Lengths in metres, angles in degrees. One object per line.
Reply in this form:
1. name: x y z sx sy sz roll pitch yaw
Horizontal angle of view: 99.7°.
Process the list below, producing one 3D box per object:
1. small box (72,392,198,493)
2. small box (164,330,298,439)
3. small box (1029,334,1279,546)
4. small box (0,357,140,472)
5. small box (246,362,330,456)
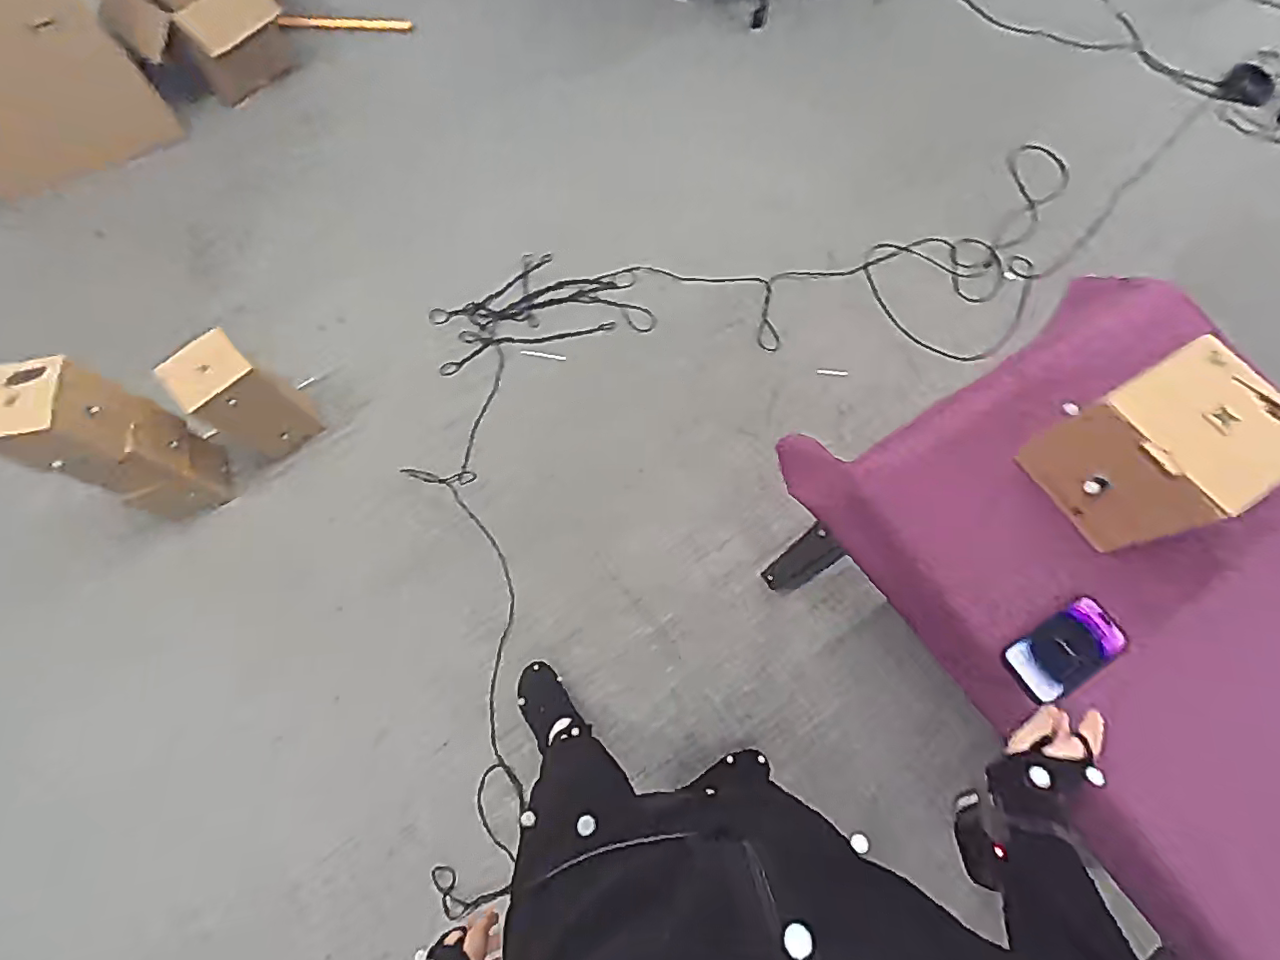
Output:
1. small box: -1.232 -0.085 1.315 0.179 0.176 0.168 -15 69 -6
2. small box: -1.021 -0.232 1.365 0.179 0.176 0.168 -43 75 -13
3. small box: 0.635 -0.038 0.670 0.179 0.176 0.168 -29 72 -9
4. small box: -1.231 -0.136 1.159 0.168 0.176 0.179 -10 70 -4
5. small box: -1.020 -0.189 1.522 0.168 0.176 0.179 -39 73 -13
